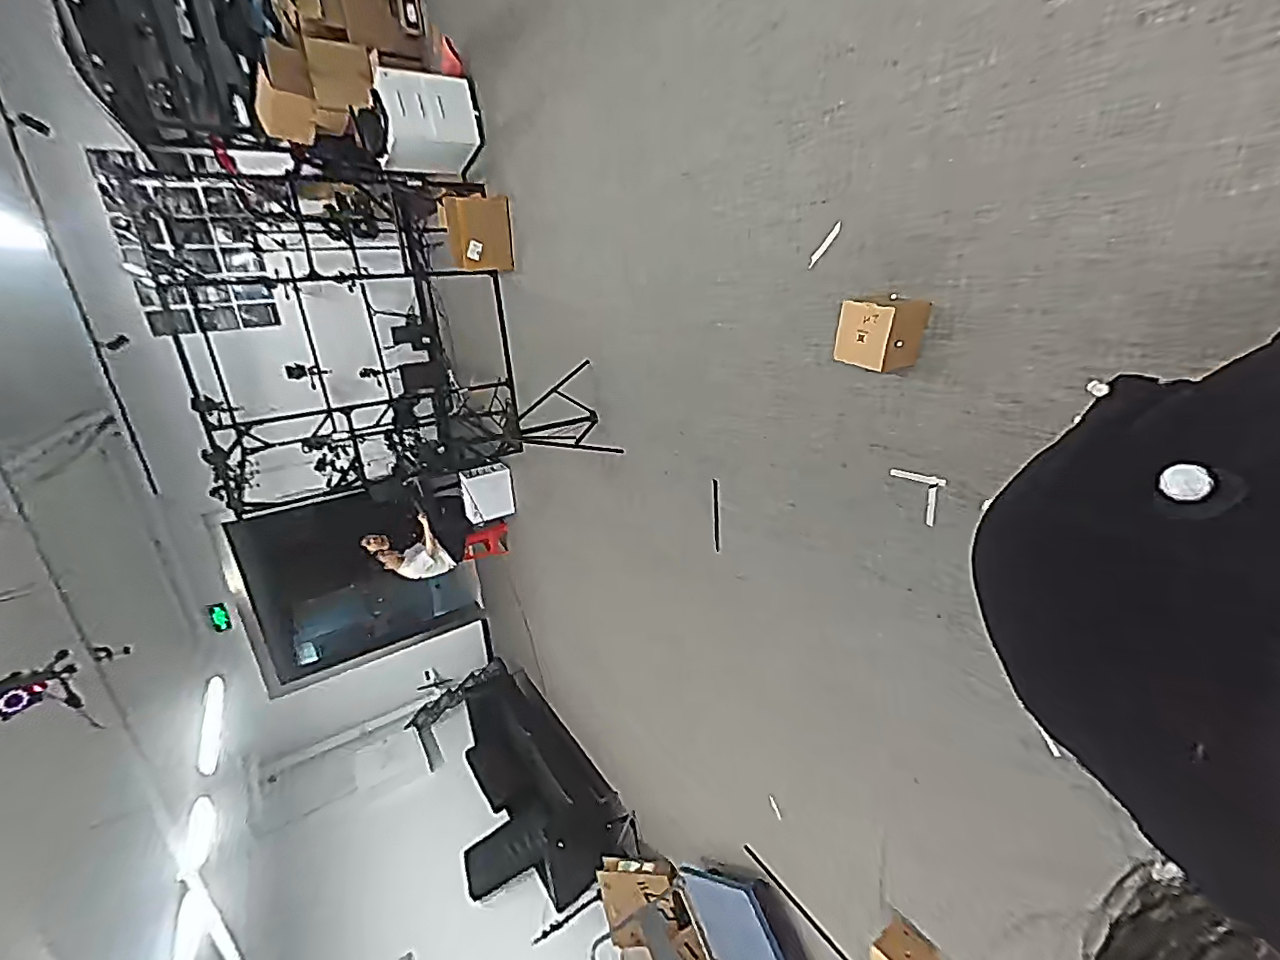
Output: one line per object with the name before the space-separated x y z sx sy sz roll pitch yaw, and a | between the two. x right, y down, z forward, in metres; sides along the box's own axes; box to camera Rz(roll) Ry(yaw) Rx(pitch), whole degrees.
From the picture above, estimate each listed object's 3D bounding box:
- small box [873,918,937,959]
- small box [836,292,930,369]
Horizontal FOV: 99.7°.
small box | 1.031 1.875 2.100 0.168 0.176 0.179 15 117 56
small box | 0.695 -0.431 1.544 0.168 0.176 0.179 35 132 46
